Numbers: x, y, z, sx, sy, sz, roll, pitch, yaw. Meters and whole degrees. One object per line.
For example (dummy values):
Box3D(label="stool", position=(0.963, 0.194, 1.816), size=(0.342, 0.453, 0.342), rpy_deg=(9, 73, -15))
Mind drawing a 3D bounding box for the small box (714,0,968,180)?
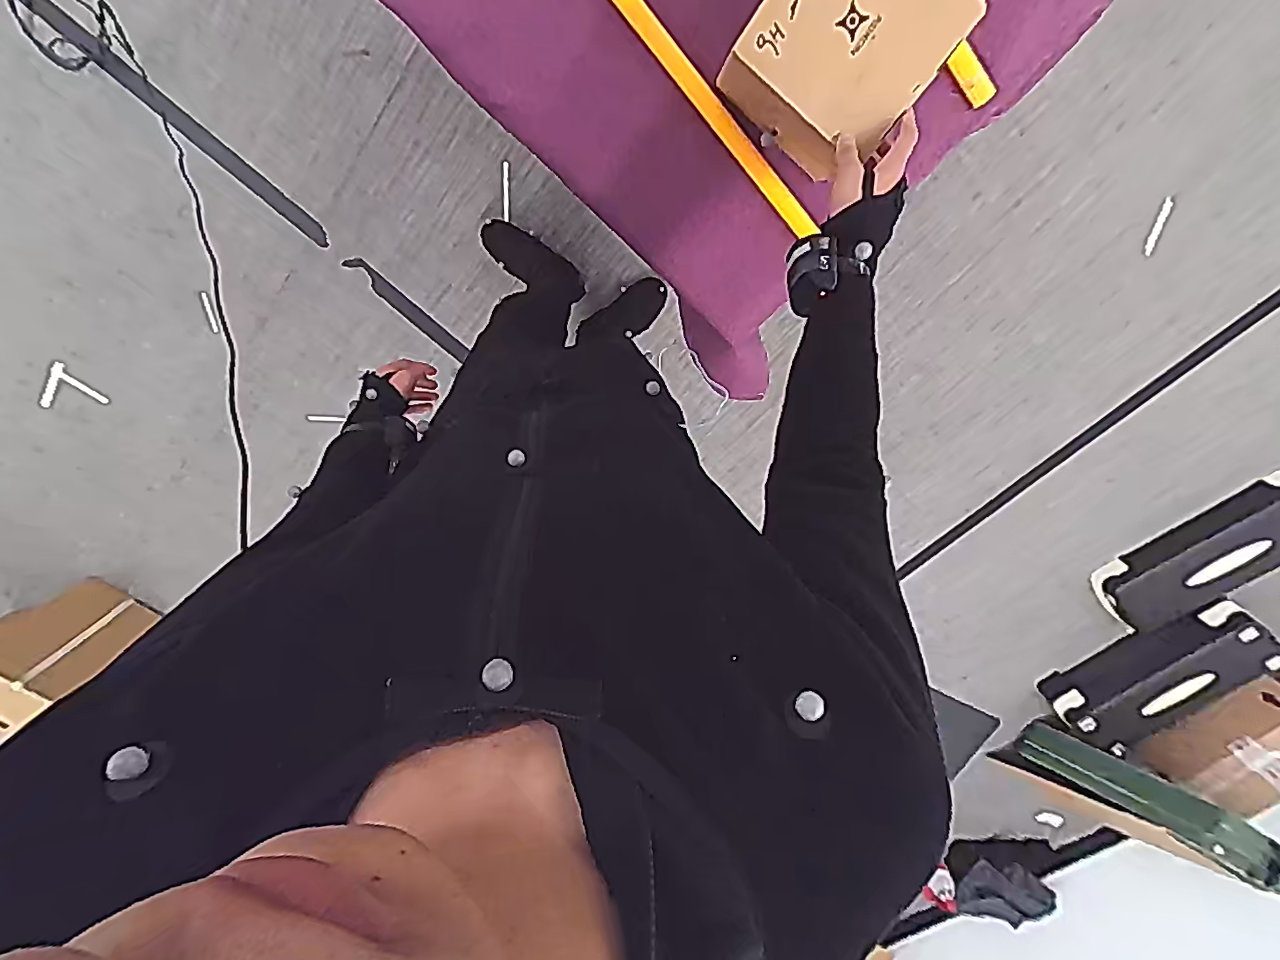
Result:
Box3D(label="small box", position=(0.202, -0.461, 0.594), size=(0.179, 0.176, 0.168), rpy_deg=(34, 113, -15))
